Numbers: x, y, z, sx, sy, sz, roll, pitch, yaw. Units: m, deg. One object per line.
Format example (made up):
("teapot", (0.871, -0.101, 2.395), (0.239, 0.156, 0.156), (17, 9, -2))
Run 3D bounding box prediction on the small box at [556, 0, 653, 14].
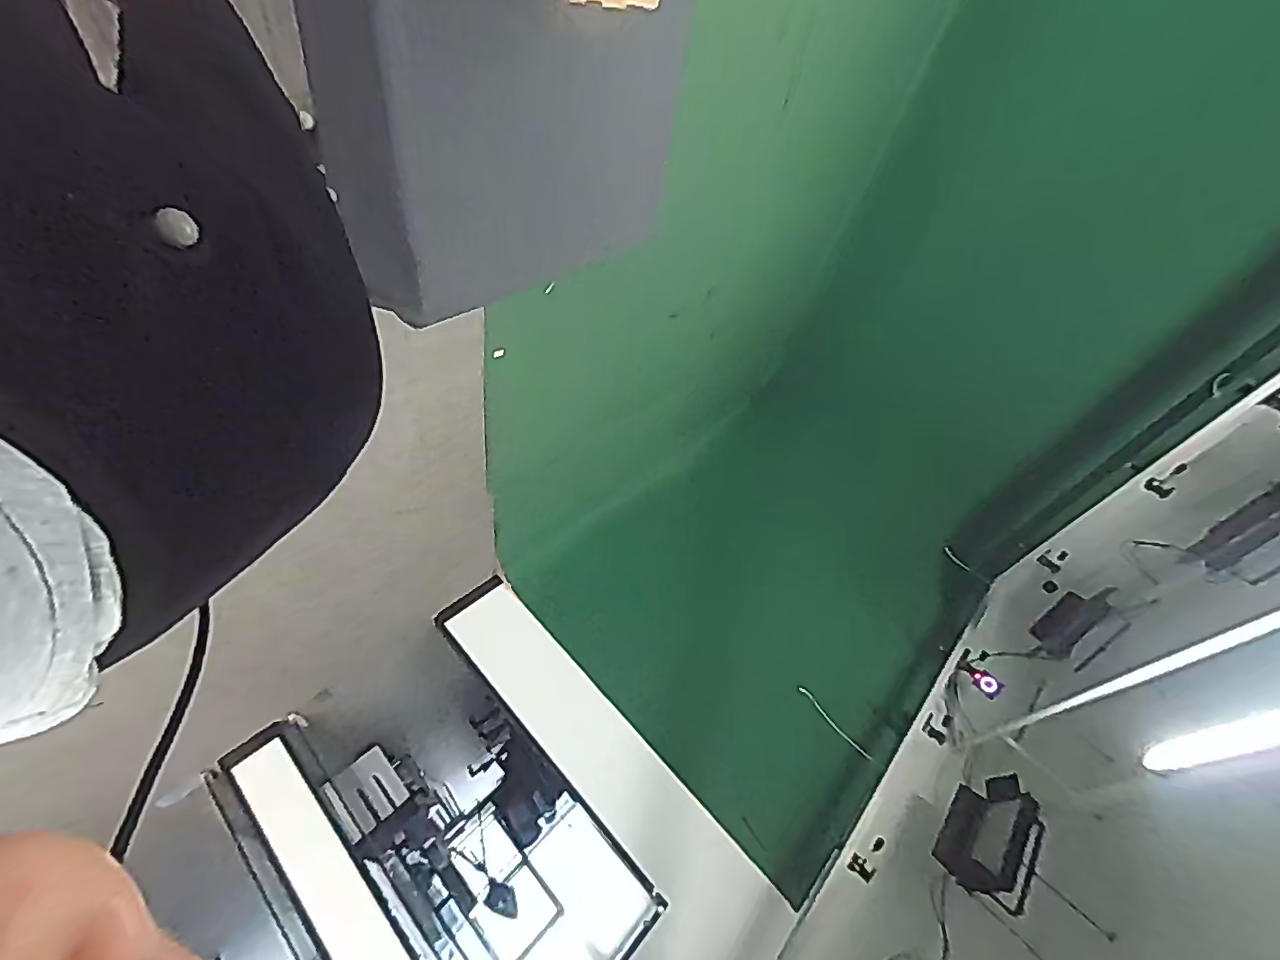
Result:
("small box", (-0.078, -0.722, 0.669), (0.168, 0.176, 0.179), (-33, 156, -36))
